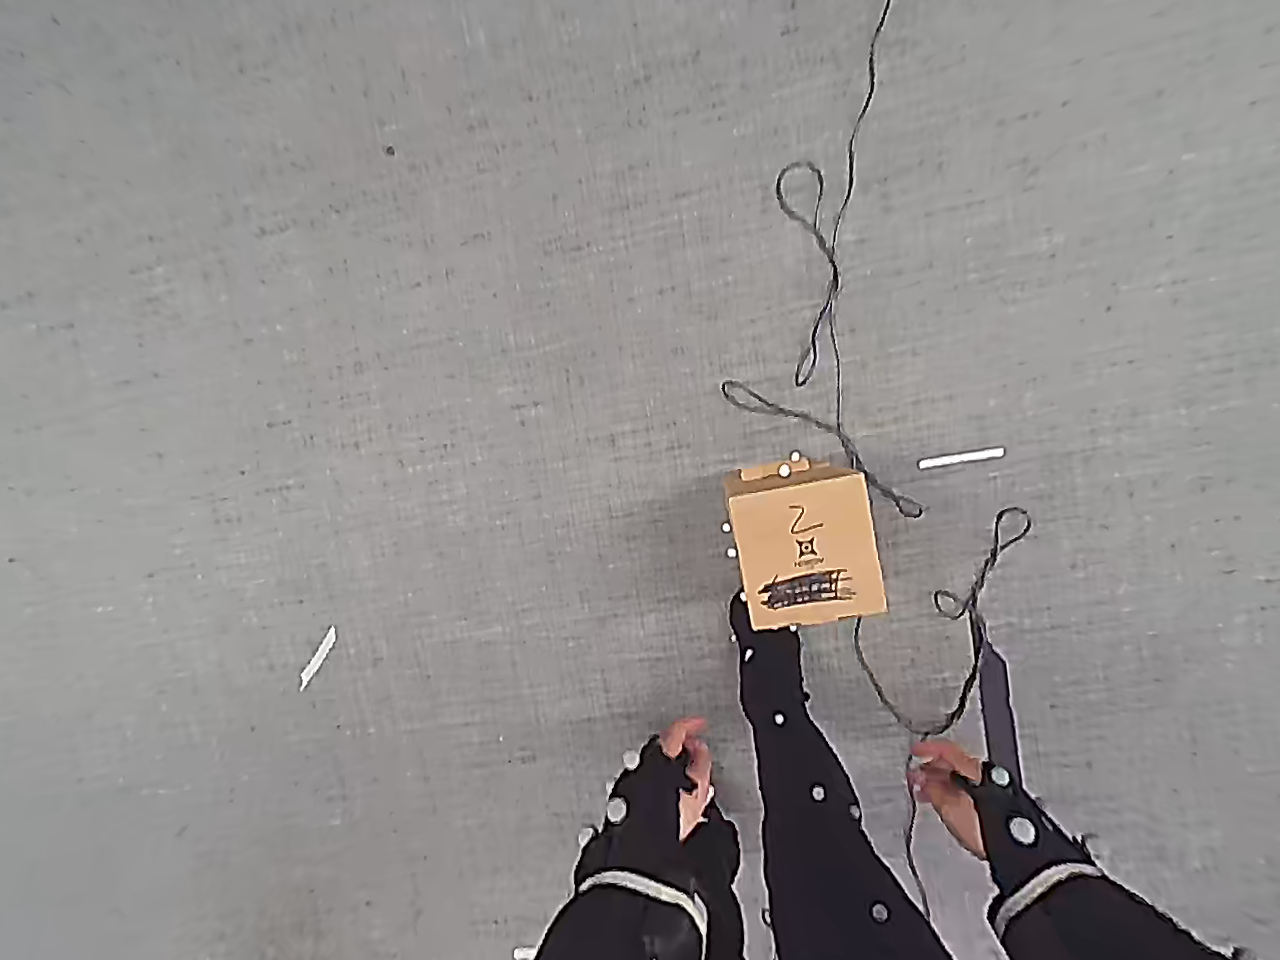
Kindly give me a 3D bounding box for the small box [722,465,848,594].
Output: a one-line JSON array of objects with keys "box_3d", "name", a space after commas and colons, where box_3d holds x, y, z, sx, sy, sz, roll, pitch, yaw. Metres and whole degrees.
[{"box_3d": [0.233, 0.073, 0.908, 0.168, 0.176, 0.179, -11, 94, 9], "name": "small box"}]
